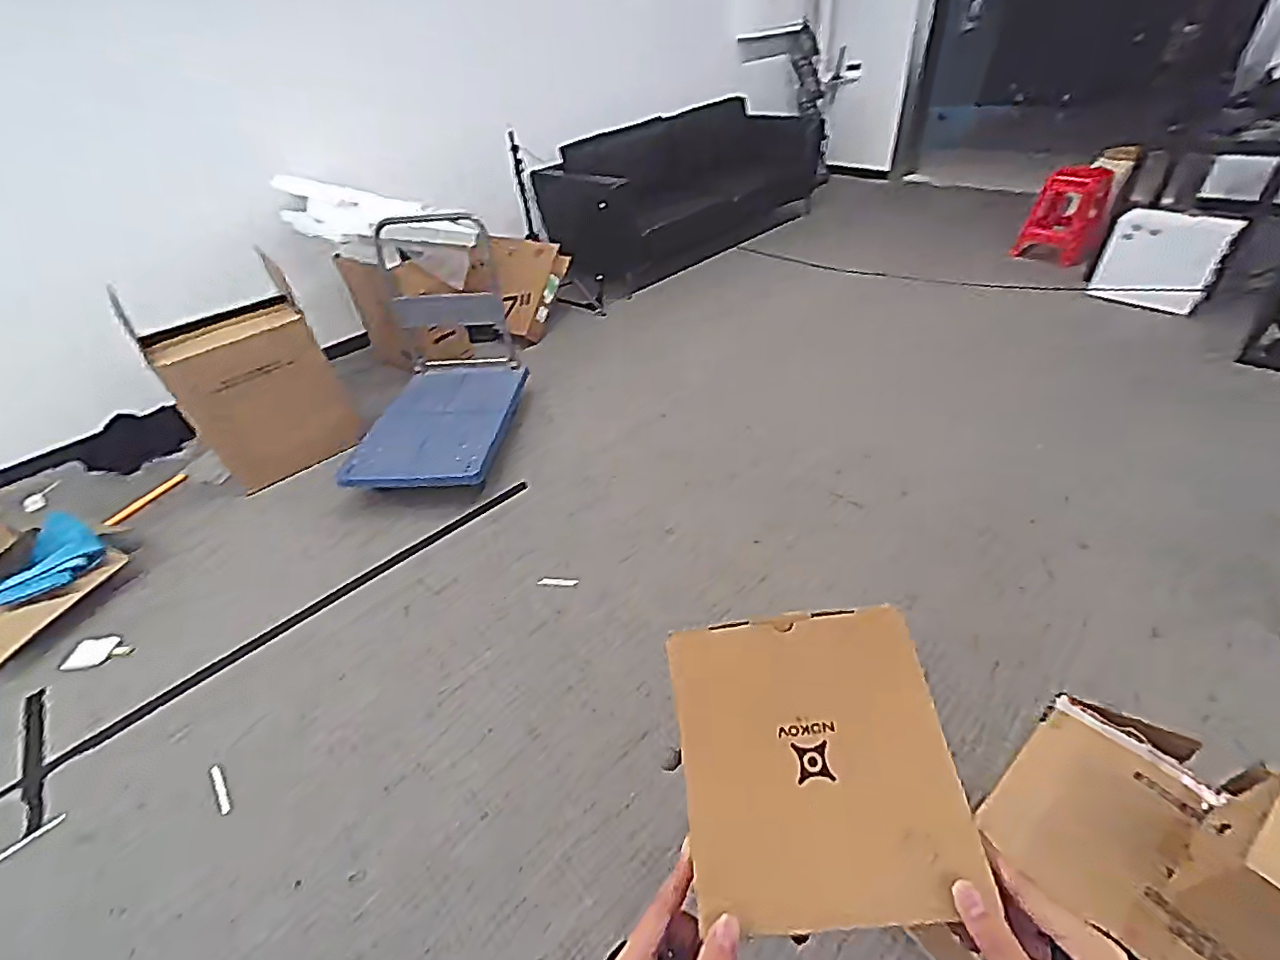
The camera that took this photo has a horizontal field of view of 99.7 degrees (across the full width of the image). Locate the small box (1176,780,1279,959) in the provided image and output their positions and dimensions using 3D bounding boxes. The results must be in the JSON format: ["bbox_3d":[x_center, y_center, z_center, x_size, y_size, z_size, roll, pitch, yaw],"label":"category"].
[{"bbox_3d":[0.778,0.479,0.610,0.168,0.176,0.179,-30,47,-22],"label":"small box"}]

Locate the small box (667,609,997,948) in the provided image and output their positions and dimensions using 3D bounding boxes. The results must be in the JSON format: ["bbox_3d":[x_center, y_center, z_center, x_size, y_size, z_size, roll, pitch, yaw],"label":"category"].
[{"bbox_3d":[0.118,0.216,0.407,0.168,0.176,0.179,-9,57,4],"label":"small box"}]
